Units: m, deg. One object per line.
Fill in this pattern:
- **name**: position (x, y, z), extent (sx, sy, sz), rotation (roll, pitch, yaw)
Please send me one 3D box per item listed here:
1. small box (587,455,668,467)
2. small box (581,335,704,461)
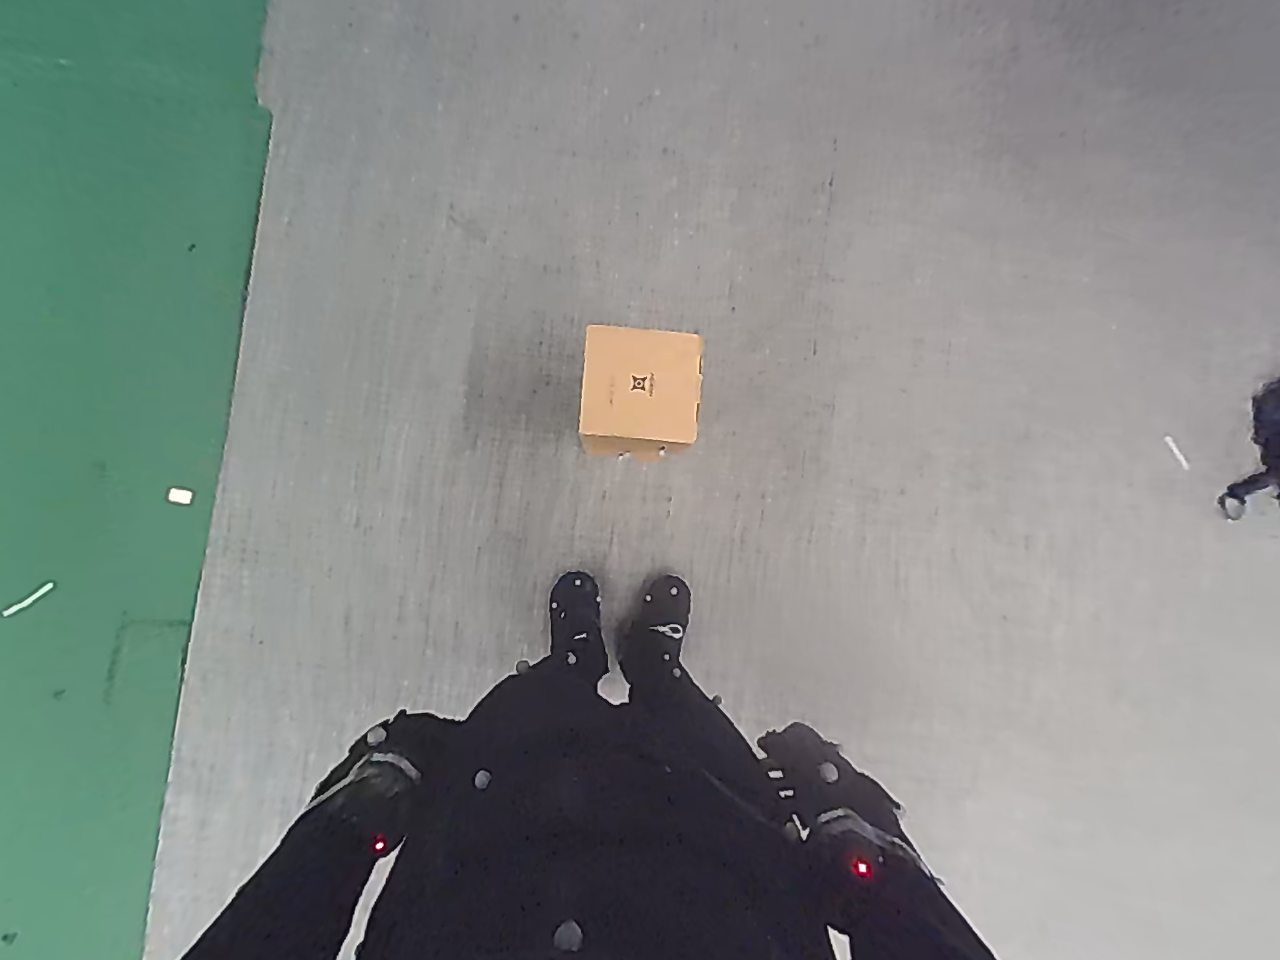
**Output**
- **small box**: position (-0.023, -0.122, 1.207), extent (0.179, 0.176, 0.168), rotation (6, 86, -2)
- **small box**: position (0.001, -0.123, 0.881), extent (0.179, 0.176, 0.168), rotation (4, 85, -2)
